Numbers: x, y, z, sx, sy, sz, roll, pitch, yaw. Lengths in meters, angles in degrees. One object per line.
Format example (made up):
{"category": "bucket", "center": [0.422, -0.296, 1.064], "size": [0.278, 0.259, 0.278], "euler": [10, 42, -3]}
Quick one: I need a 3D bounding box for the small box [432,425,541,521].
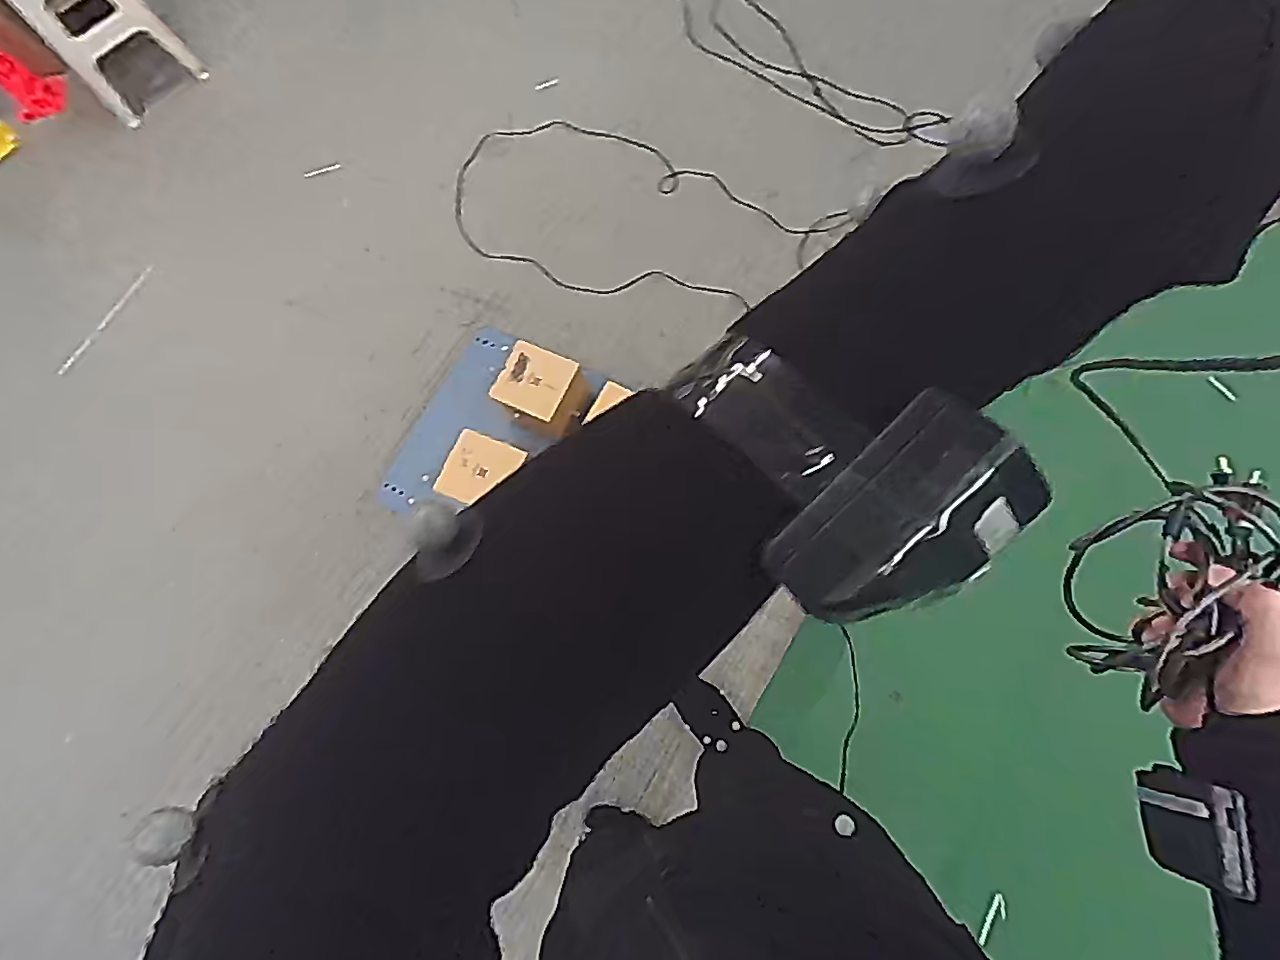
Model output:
{"category": "small box", "center": [-0.365, -0.010, 1.329], "size": [0.179, 0.176, 0.168], "euler": [22, 78, 10]}

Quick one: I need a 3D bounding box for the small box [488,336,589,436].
{"category": "small box", "center": [-0.250, -0.231, 1.377], "size": [0.179, 0.176, 0.168], "euler": [24, 80, 10]}
